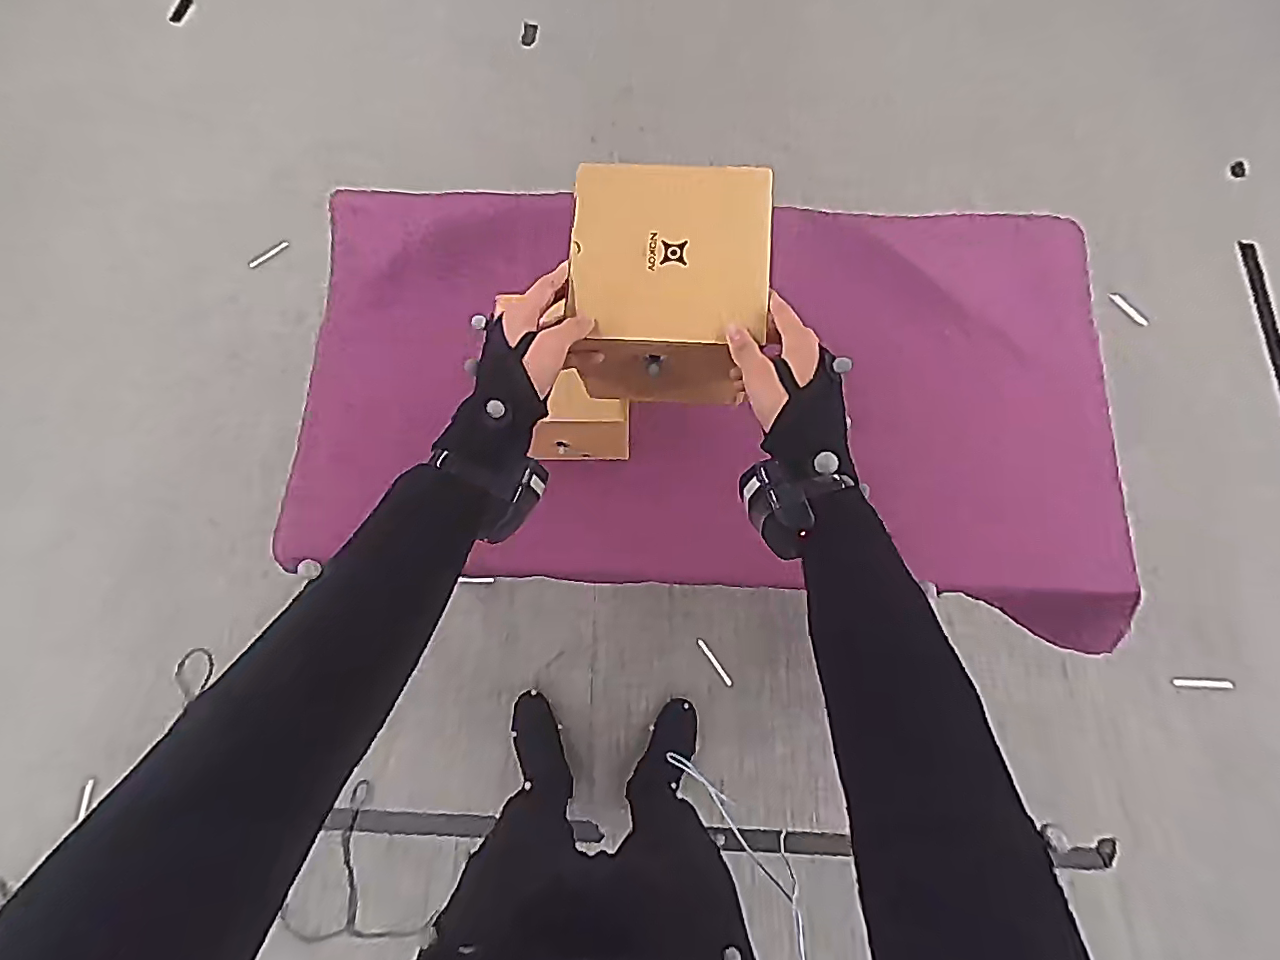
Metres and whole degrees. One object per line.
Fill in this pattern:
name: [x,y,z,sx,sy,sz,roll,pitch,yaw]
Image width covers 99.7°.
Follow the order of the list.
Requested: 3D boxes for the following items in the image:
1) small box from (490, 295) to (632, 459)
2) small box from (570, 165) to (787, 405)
small box: [-0.095,-0.130,0.740,0.168,0.176,0.179,1,76,0]
small box: [0.038,-0.178,0.536,0.179,0.176,0.168,4,82,5]
